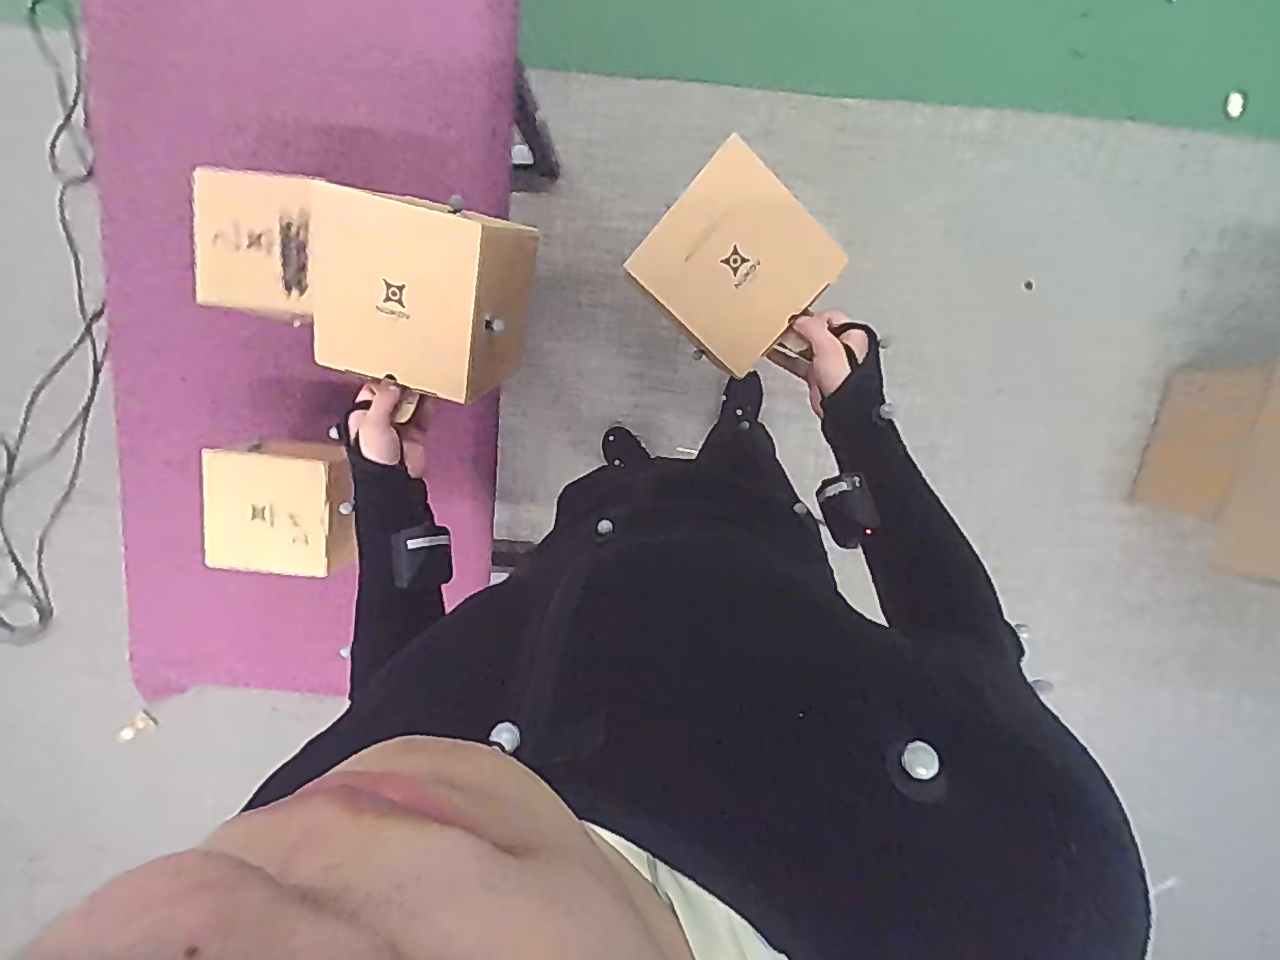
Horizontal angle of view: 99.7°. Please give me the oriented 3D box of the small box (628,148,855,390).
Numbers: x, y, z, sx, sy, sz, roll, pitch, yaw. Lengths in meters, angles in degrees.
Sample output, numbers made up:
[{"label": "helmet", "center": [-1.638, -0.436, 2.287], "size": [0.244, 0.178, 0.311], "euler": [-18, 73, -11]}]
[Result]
[{"label": "small box", "center": [0.103, -0.231, 0.624], "size": [0.179, 0.176, 0.168], "euler": [41, 101, -12]}]

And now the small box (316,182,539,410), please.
[{"label": "small box", "center": [-0.219, -0.200, 0.589], "size": [0.168, 0.176, 0.179], "euler": [16, 115, 2]}]

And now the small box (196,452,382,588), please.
[{"label": "small box", "center": [-0.519, 0.051, 0.817], "size": [0.179, 0.176, 0.168], "euler": [5, 98, -1]}]
